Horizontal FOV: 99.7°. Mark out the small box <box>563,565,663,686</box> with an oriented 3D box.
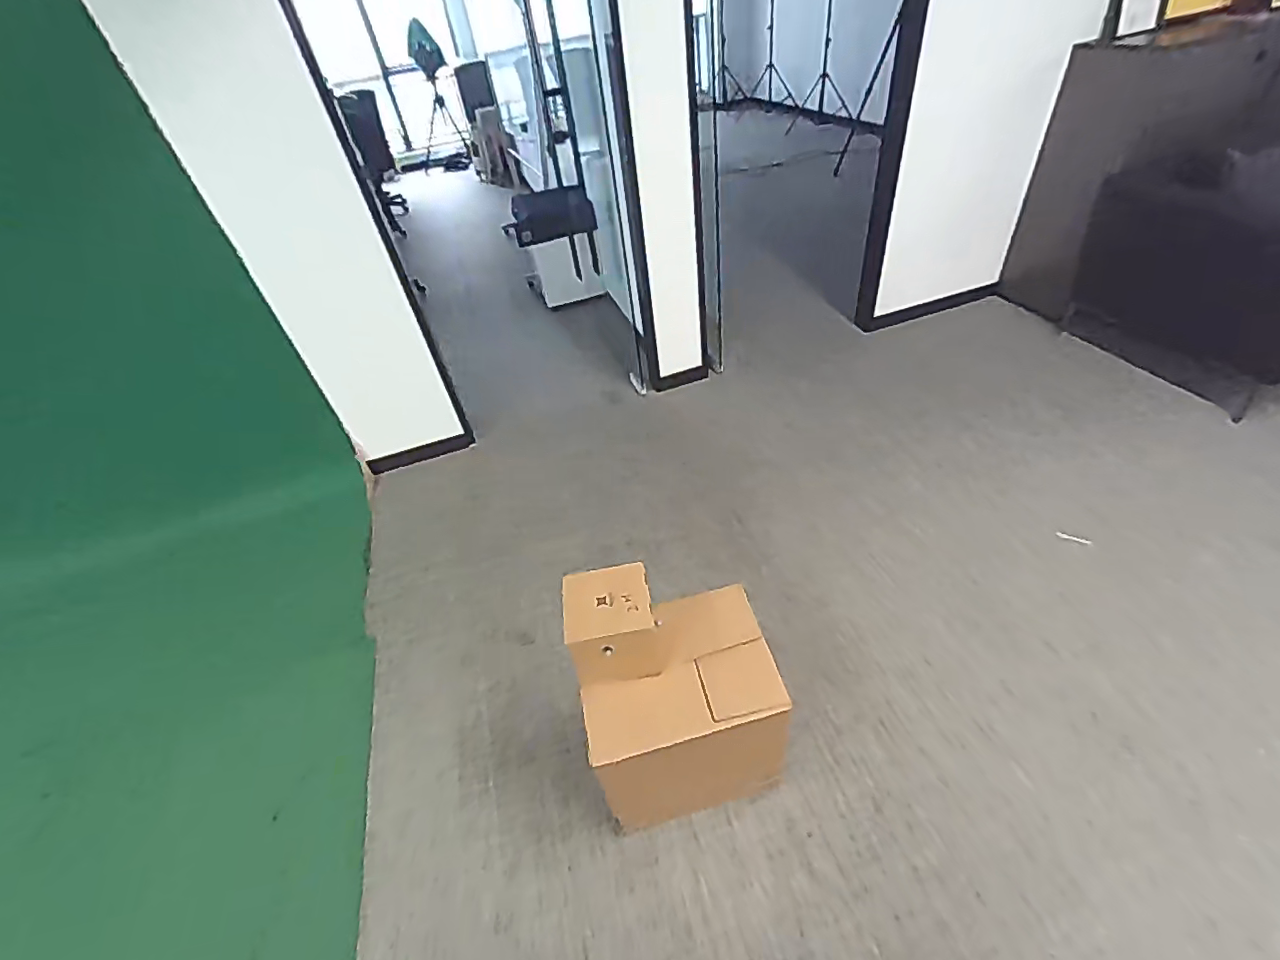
[{"bbox_3d":[-0.057,0.306,1.126,0.179,0.176,0.168,-11,41,-1],"label":"small box"}]
